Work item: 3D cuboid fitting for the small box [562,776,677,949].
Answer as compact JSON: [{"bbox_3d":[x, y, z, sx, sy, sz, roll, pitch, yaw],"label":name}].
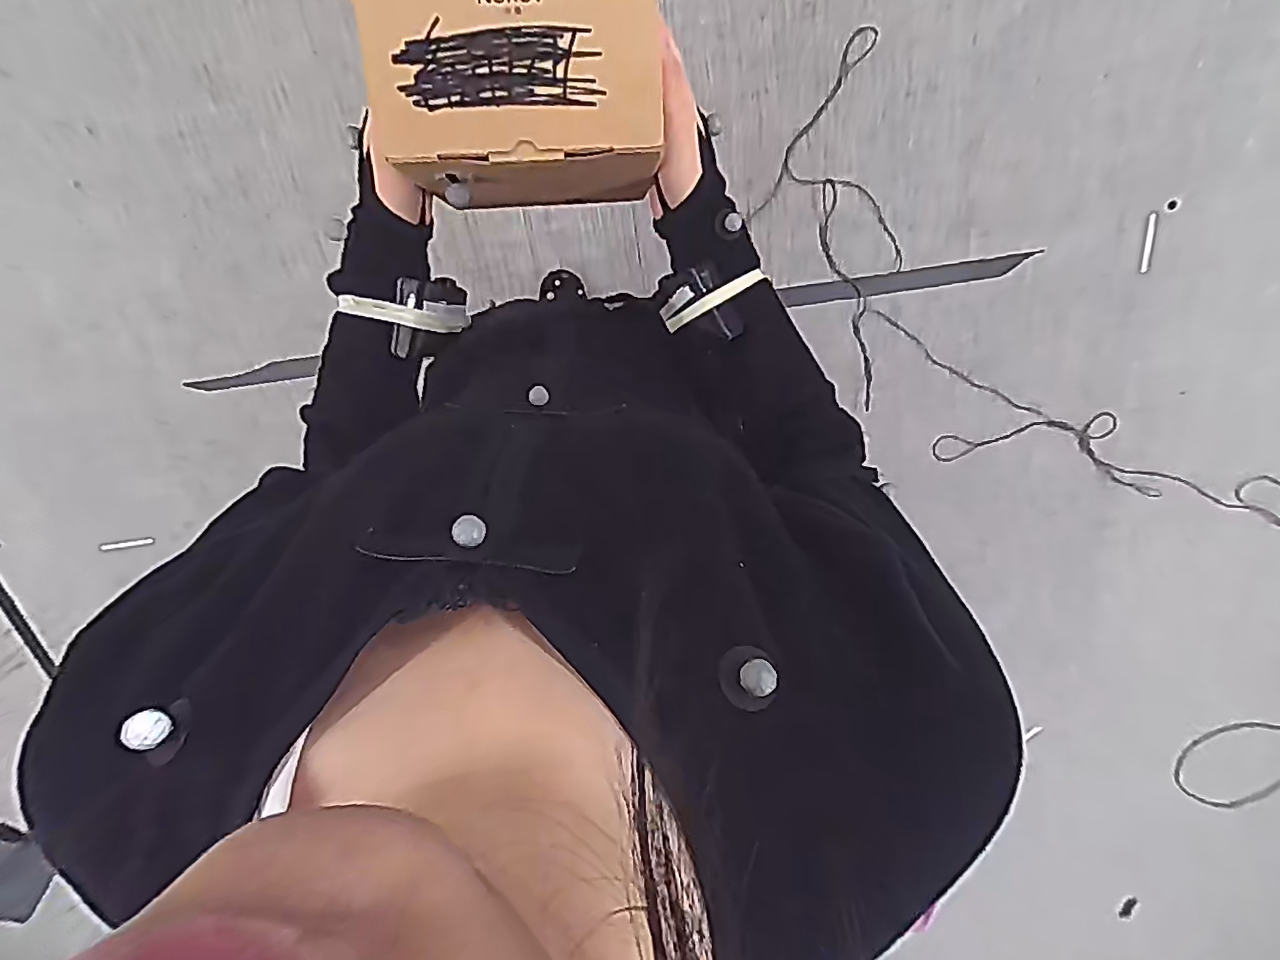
[{"bbox_3d":[-0.031,0.638,0.912,0.168,0.176,0.179,-7,111,0],"label":"small box"}]
